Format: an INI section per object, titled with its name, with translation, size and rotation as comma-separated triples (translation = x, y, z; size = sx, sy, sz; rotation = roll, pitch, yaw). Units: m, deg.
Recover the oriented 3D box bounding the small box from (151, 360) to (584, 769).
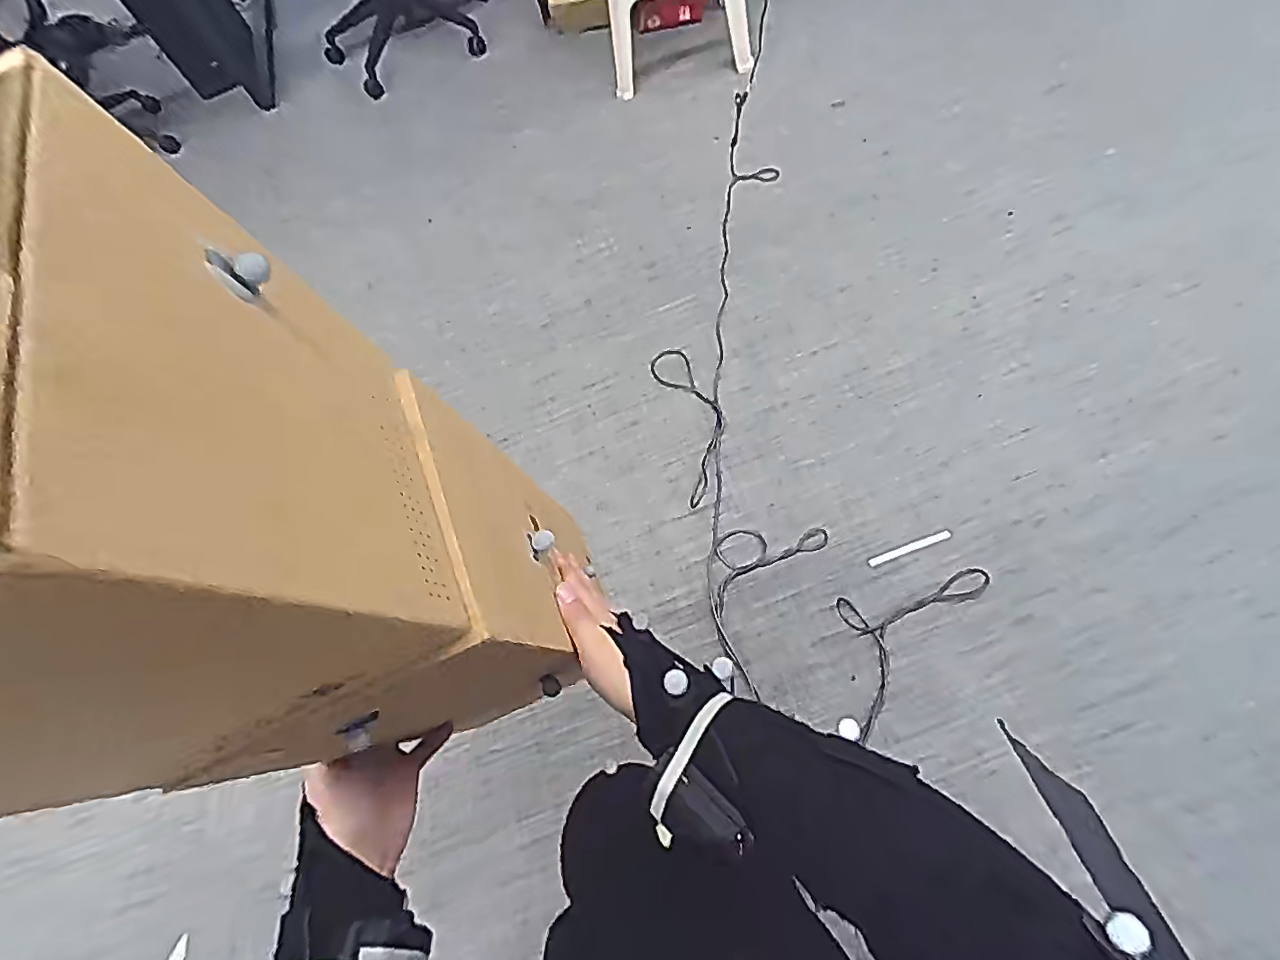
[small box]
translation = -0.160, 0.061, 0.354
size = 0.179, 0.176, 0.168
rotation = -25, 68, 1
